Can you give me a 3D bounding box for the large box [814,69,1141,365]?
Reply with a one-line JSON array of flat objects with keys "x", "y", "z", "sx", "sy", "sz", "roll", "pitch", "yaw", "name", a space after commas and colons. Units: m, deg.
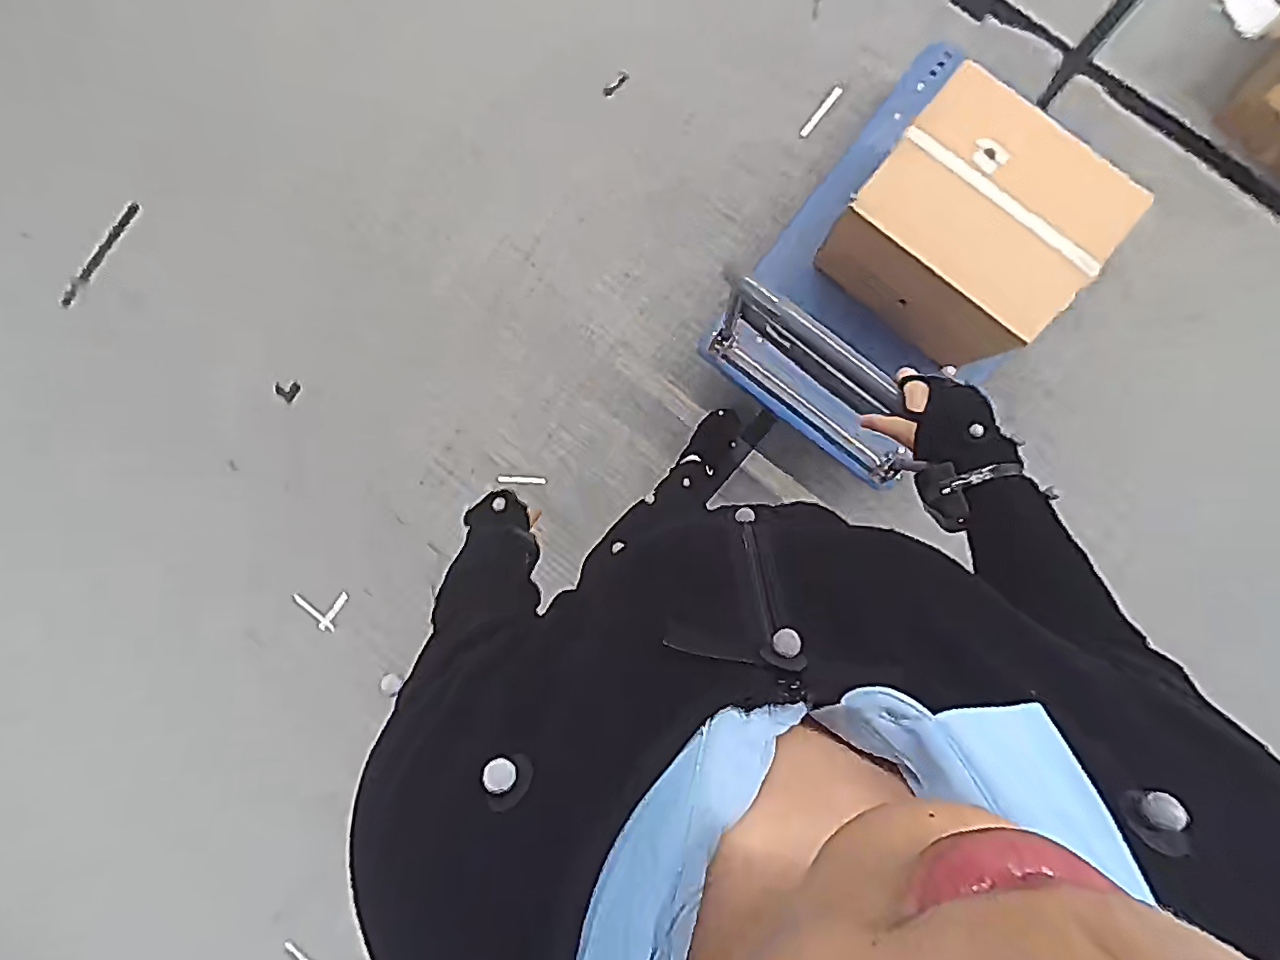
[{"x": 0.637, "y": -0.494, "z": 1.105, "sx": 0.408, "sy": 0.320, "sz": 0.320, "roll": 40, "pitch": 95, "yaw": 4, "name": "large box"}]
